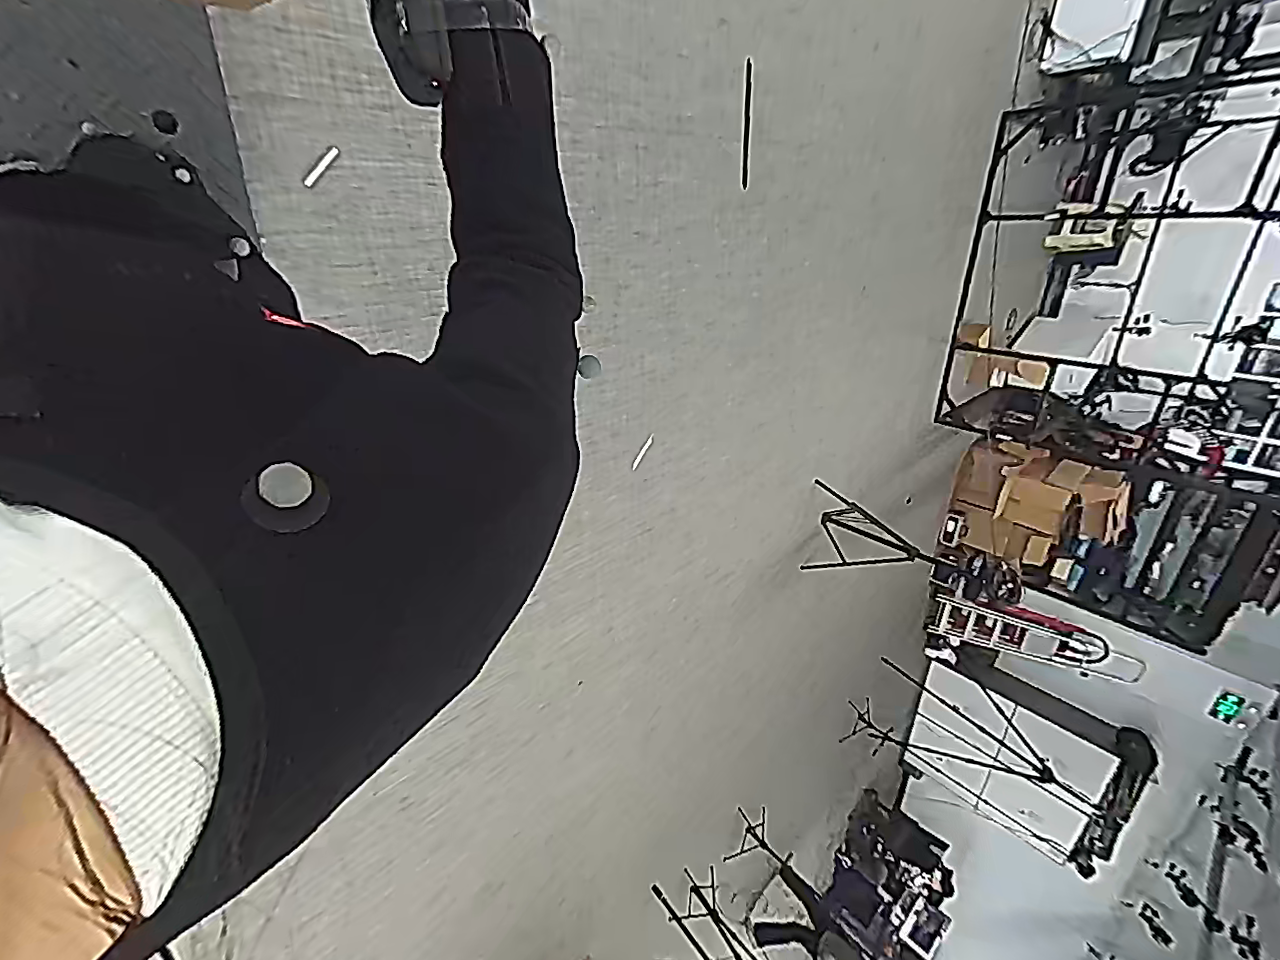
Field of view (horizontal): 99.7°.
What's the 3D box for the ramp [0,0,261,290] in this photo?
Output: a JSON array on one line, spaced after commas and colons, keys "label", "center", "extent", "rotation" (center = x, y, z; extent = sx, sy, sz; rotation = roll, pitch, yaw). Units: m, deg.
[{"label": "ramp", "center": [-0.934, -0.787, 0.763], "extent": [0.509, 0.206, 0.991], "rotation": [-22, 124, -38]}]
